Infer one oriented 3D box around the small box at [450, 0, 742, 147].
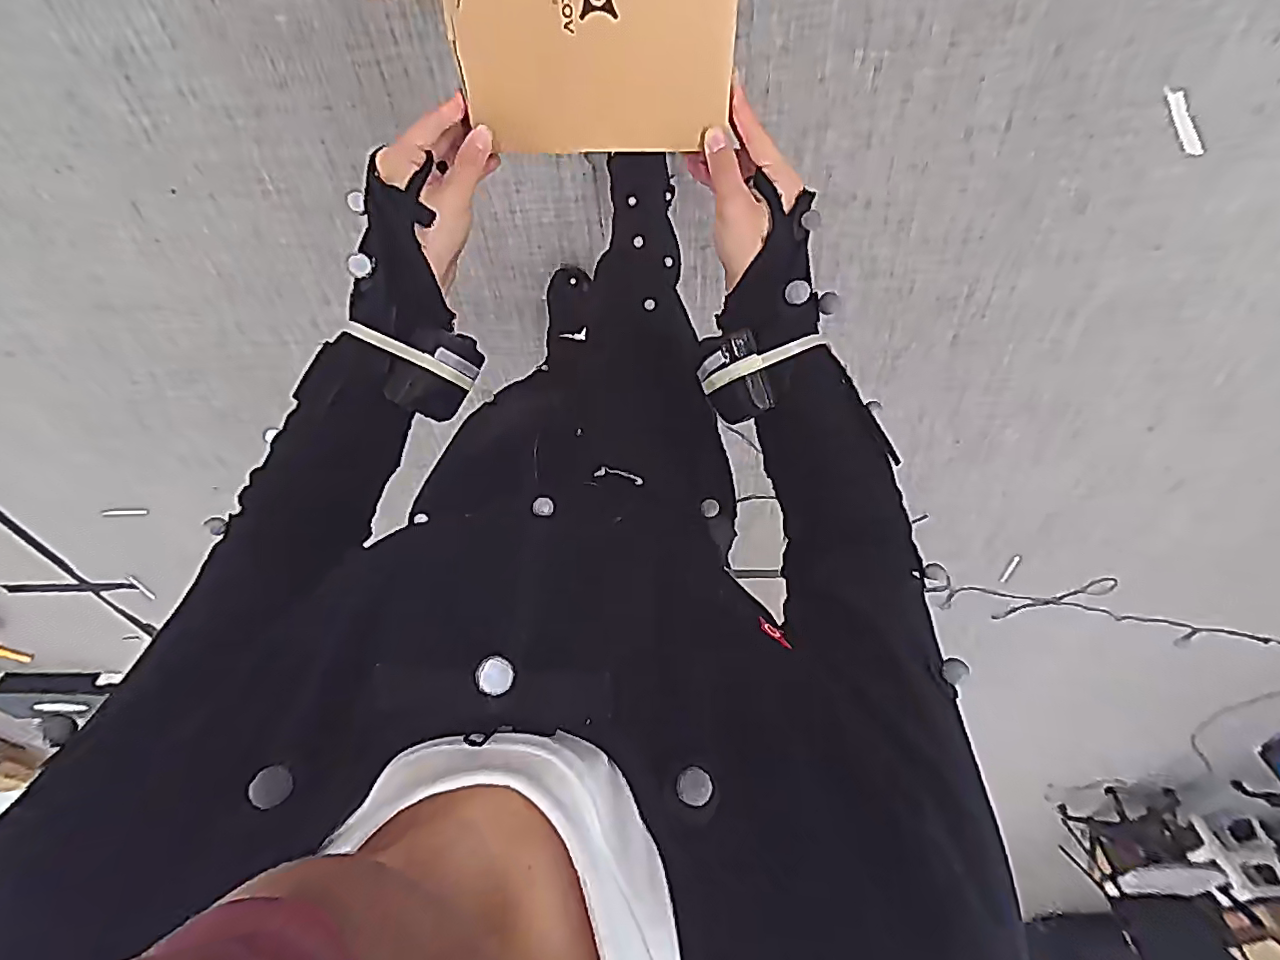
[{"bbox_3d":[-0.024,-0.345,0.370,0.179,0.176,0.168,1,136,2],"label":"small box"}]
